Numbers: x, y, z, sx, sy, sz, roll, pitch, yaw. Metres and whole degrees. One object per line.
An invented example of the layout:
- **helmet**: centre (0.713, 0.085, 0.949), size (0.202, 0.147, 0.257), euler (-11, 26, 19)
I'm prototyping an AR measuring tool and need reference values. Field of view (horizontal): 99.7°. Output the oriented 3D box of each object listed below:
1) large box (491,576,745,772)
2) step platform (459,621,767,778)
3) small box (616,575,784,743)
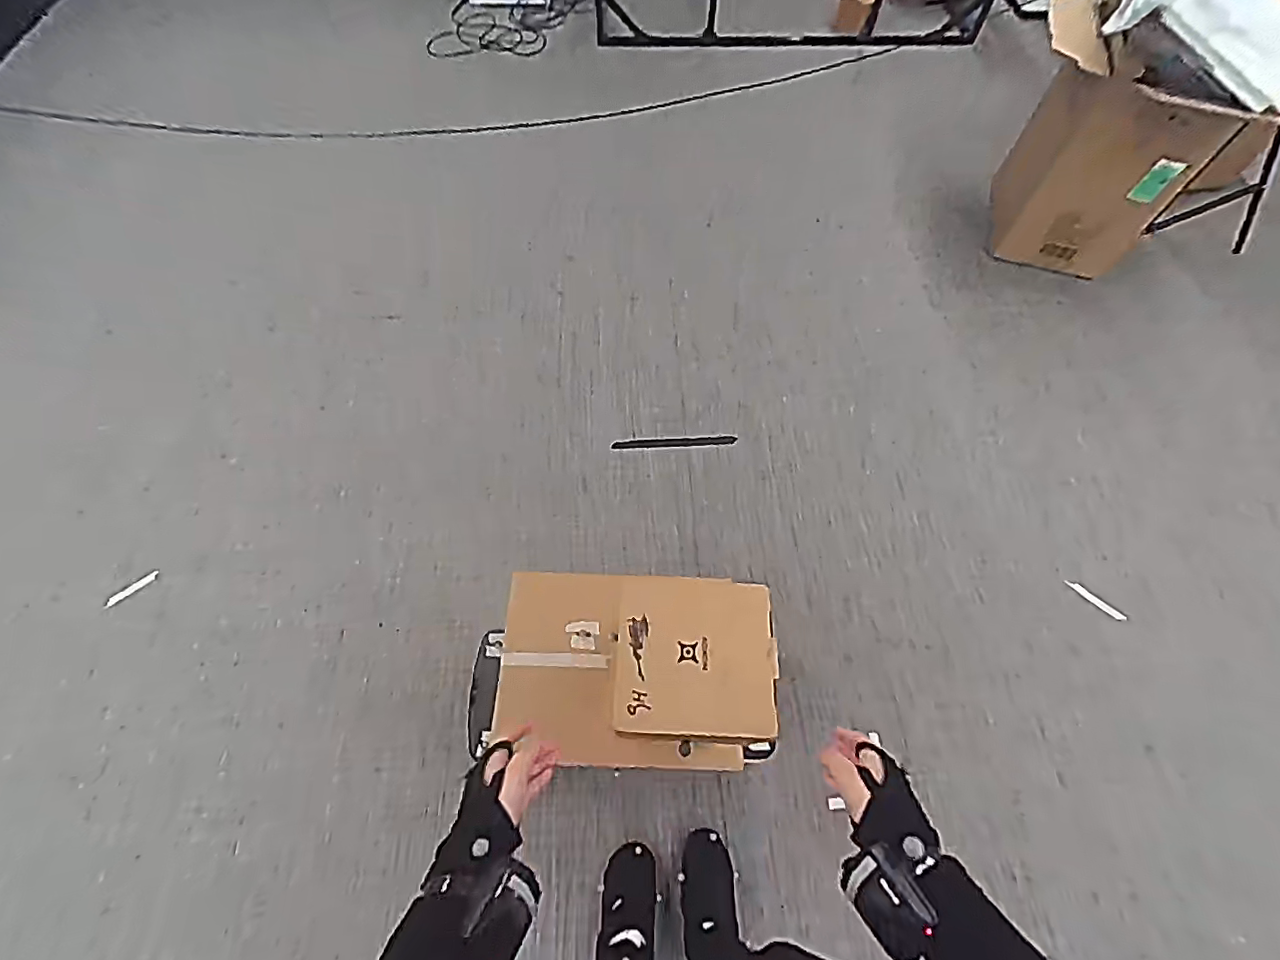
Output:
- **large box**: centre (-0.031, 0.381, 1.040), size (0.408, 0.320, 0.320), euler (1, 61, 1)
- **step platform**: centre (-0.054, 0.502, 1.245), size (0.684, 0.204, 0.286), euler (3, 62, 2)
- **small box**: centre (0.063, 0.225, 0.662), size (0.179, 0.176, 0.168), euler (3, 62, 0)
